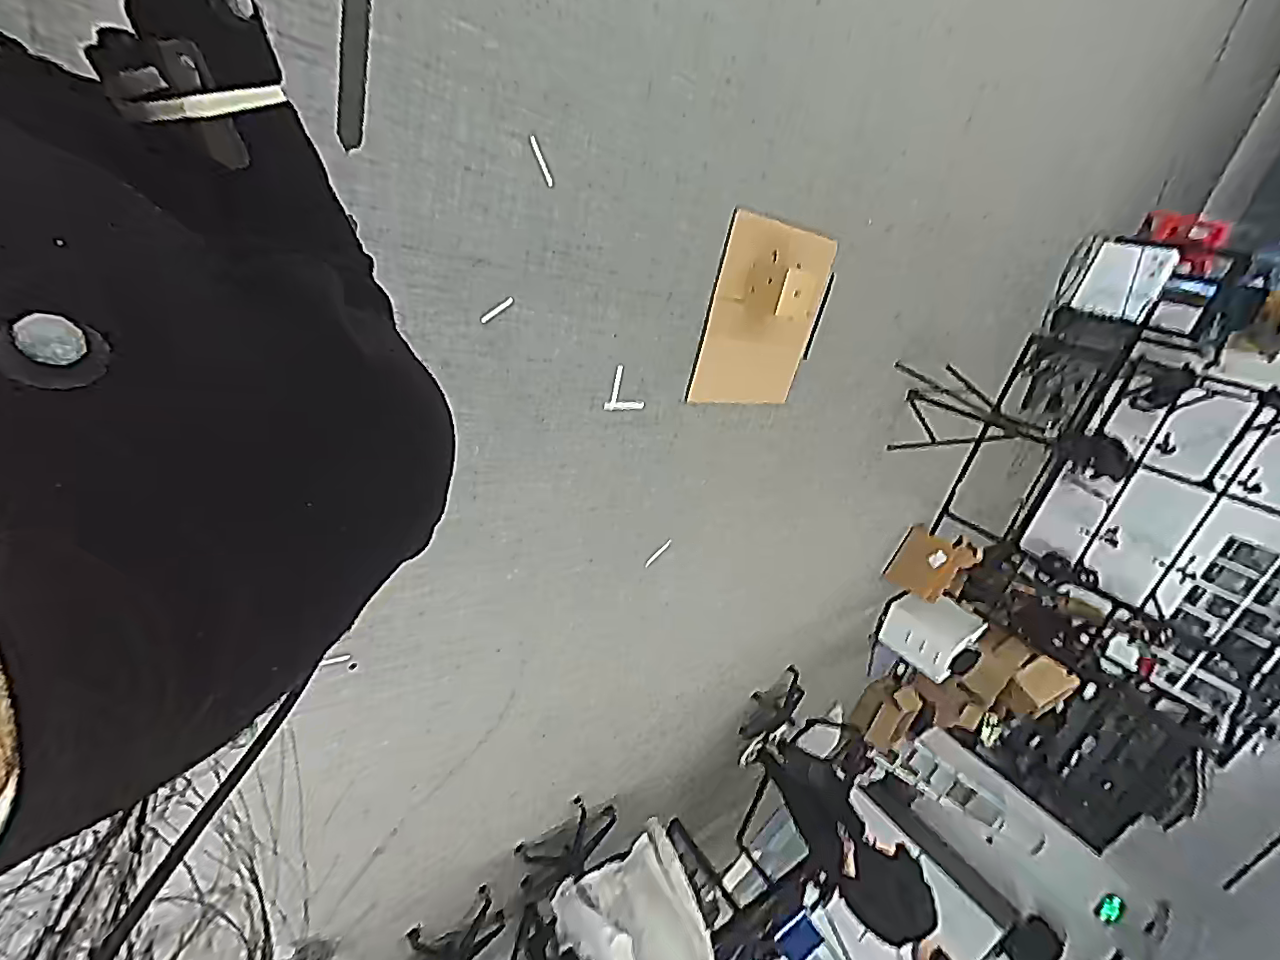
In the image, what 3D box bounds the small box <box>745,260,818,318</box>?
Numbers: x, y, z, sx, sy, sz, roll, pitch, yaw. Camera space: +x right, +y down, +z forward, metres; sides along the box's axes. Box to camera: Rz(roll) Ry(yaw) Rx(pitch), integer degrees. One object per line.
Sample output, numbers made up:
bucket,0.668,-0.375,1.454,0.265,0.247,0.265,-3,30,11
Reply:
small box,0.517,-0.708,2.001,0.179,0.176,0.168,-8,121,-36
